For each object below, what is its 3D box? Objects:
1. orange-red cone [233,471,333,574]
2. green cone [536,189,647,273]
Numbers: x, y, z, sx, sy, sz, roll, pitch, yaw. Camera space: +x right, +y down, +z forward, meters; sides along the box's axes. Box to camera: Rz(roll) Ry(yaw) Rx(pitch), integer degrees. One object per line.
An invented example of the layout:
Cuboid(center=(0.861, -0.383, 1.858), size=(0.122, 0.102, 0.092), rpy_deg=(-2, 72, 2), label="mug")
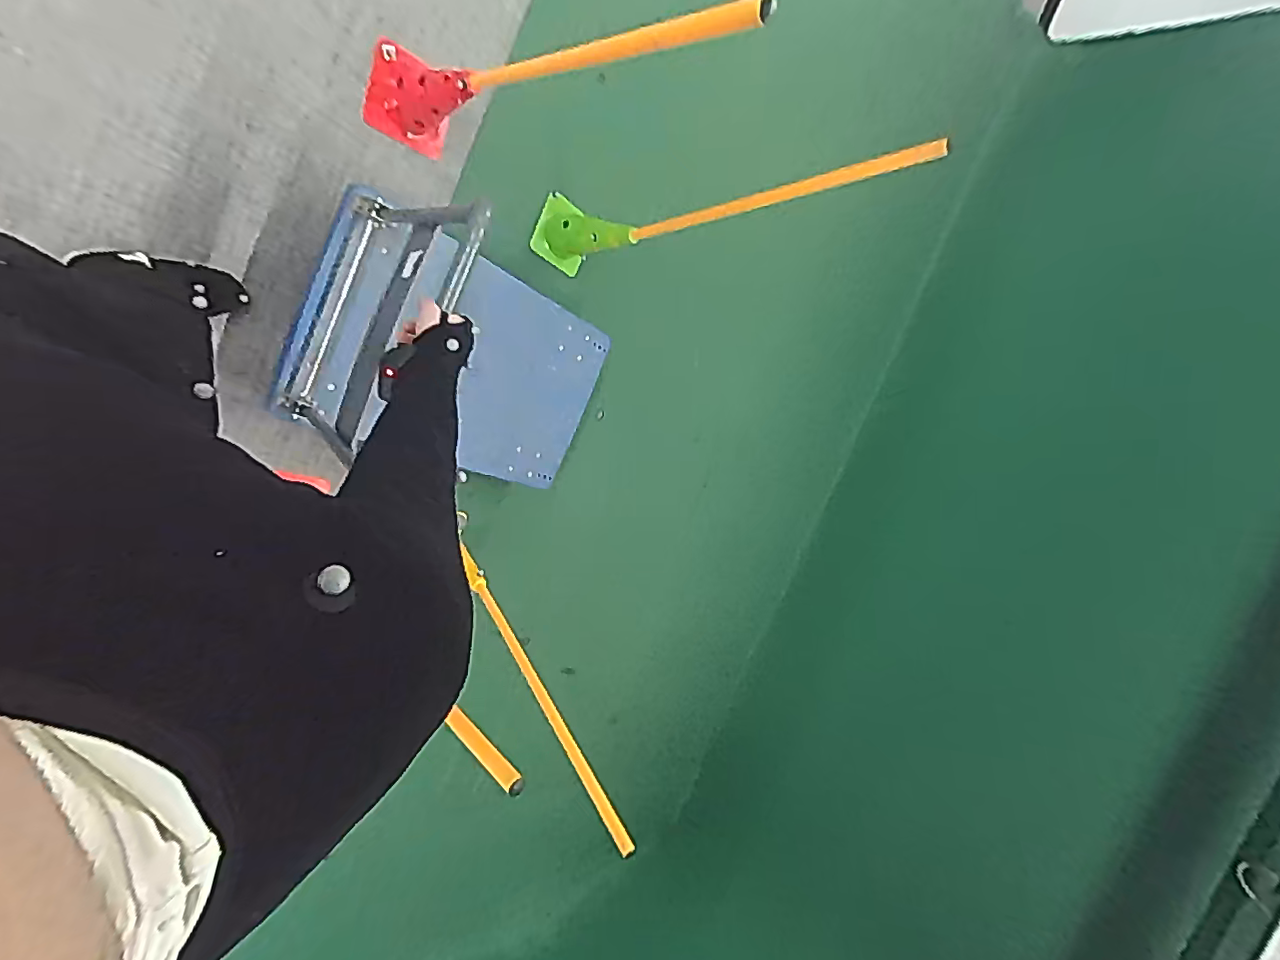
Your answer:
Cuboid(center=(-0.854, 0.139, 1.368), size=(0.199, 0.360, 0.198), rpy_deg=(19, 97, -50), label="orange-red cone")
Cuboid(center=(-0.119, -0.752, 1.654), size=(0.202, 0.368, 0.200), rpy_deg=(19, 95, -49), label="green cone")
